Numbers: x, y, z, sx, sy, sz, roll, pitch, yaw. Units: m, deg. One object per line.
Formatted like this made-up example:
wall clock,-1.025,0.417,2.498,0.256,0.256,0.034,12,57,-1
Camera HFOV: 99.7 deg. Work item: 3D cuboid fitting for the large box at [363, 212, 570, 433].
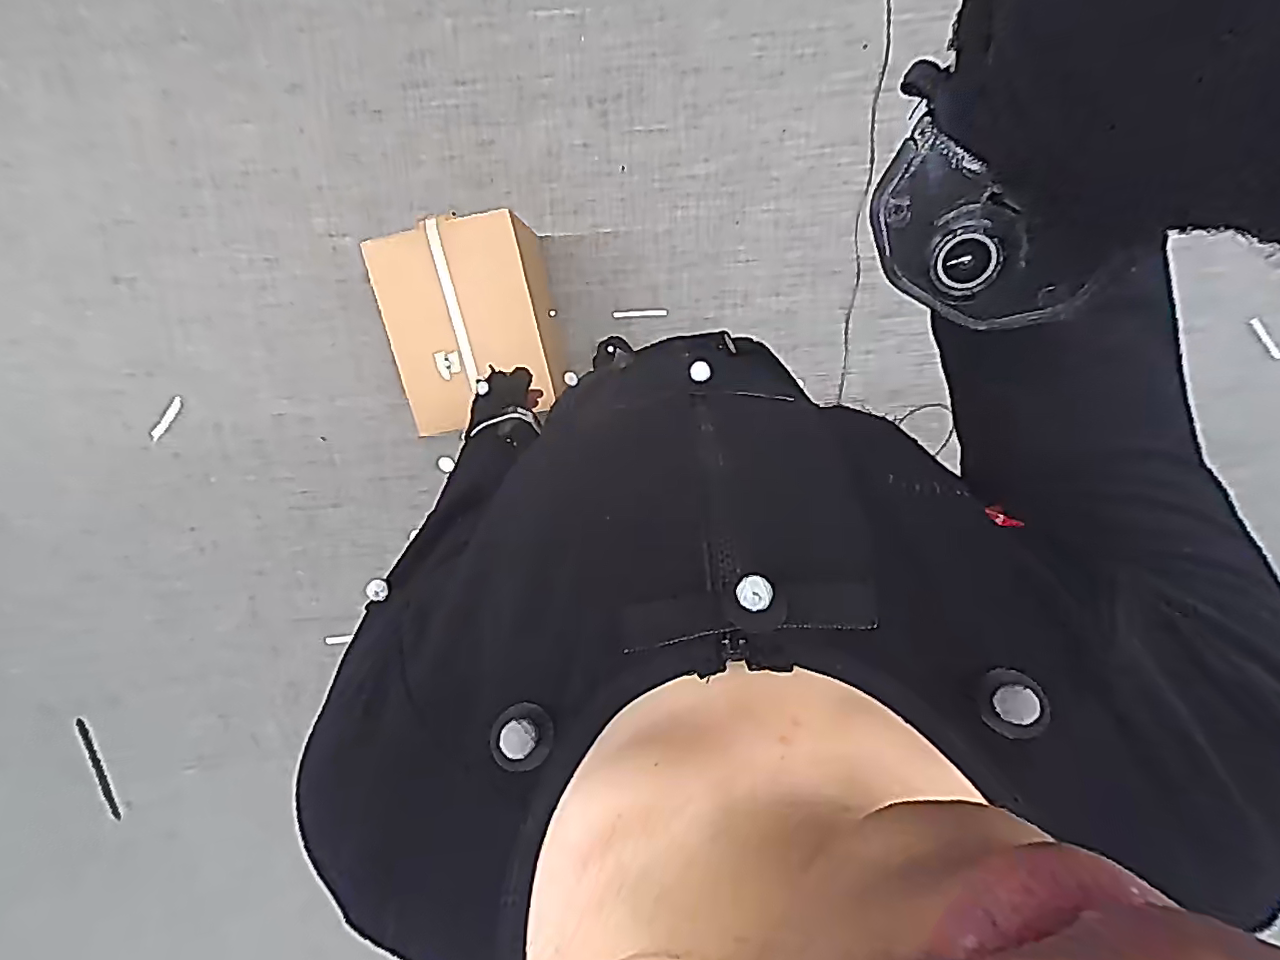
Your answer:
large box,-0.376,-0.360,1.282,0.320,0.320,0.408,-11,105,4
